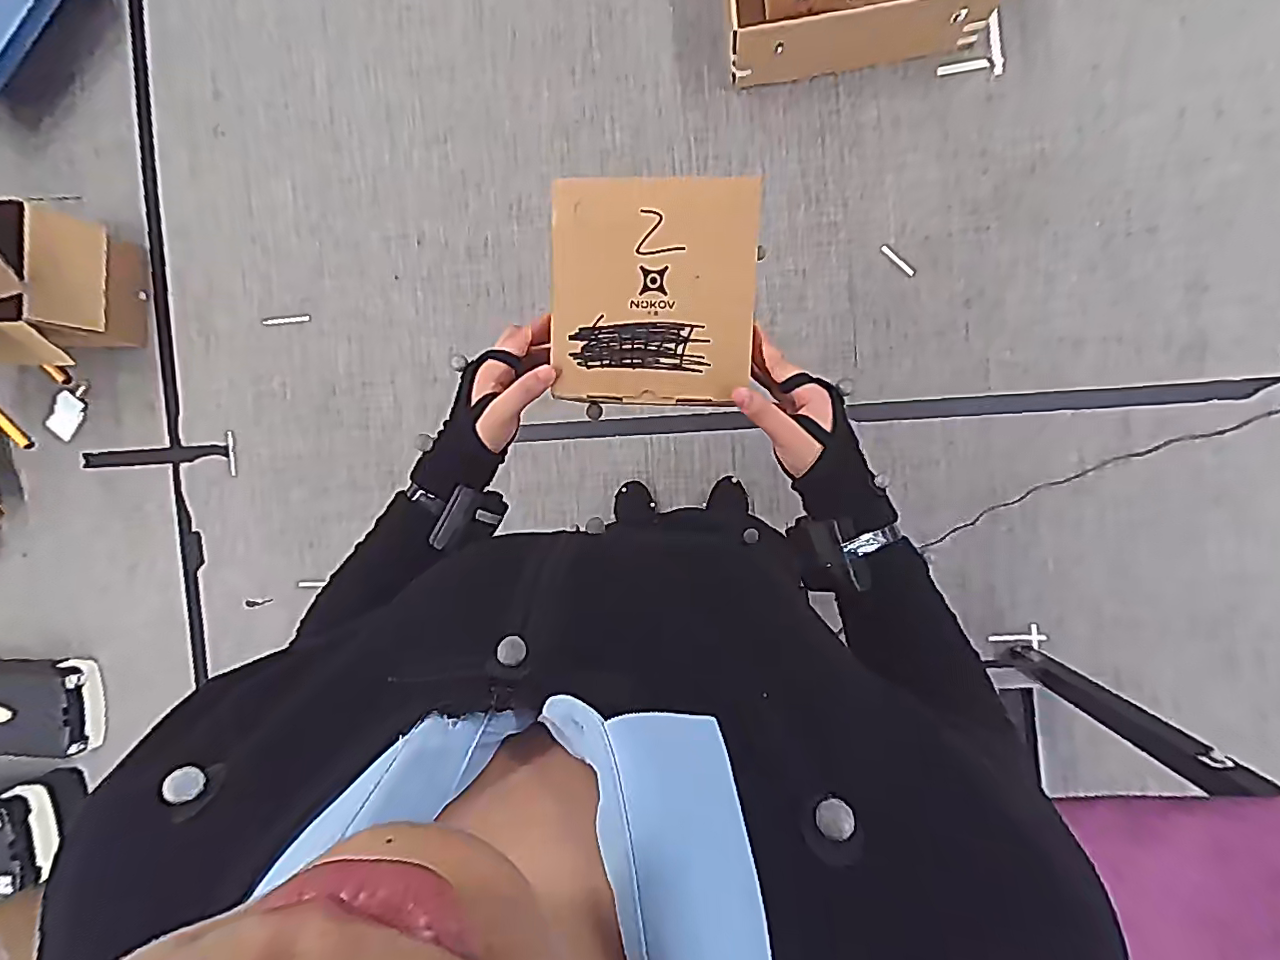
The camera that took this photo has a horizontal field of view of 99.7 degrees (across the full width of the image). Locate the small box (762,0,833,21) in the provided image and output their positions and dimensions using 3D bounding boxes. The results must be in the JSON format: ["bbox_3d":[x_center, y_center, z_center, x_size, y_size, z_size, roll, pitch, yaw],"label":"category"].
[{"bbox_3d":[0.383,-1.246,1.289,0.168,0.176,0.179,-7,91,6],"label":"small box"}]
